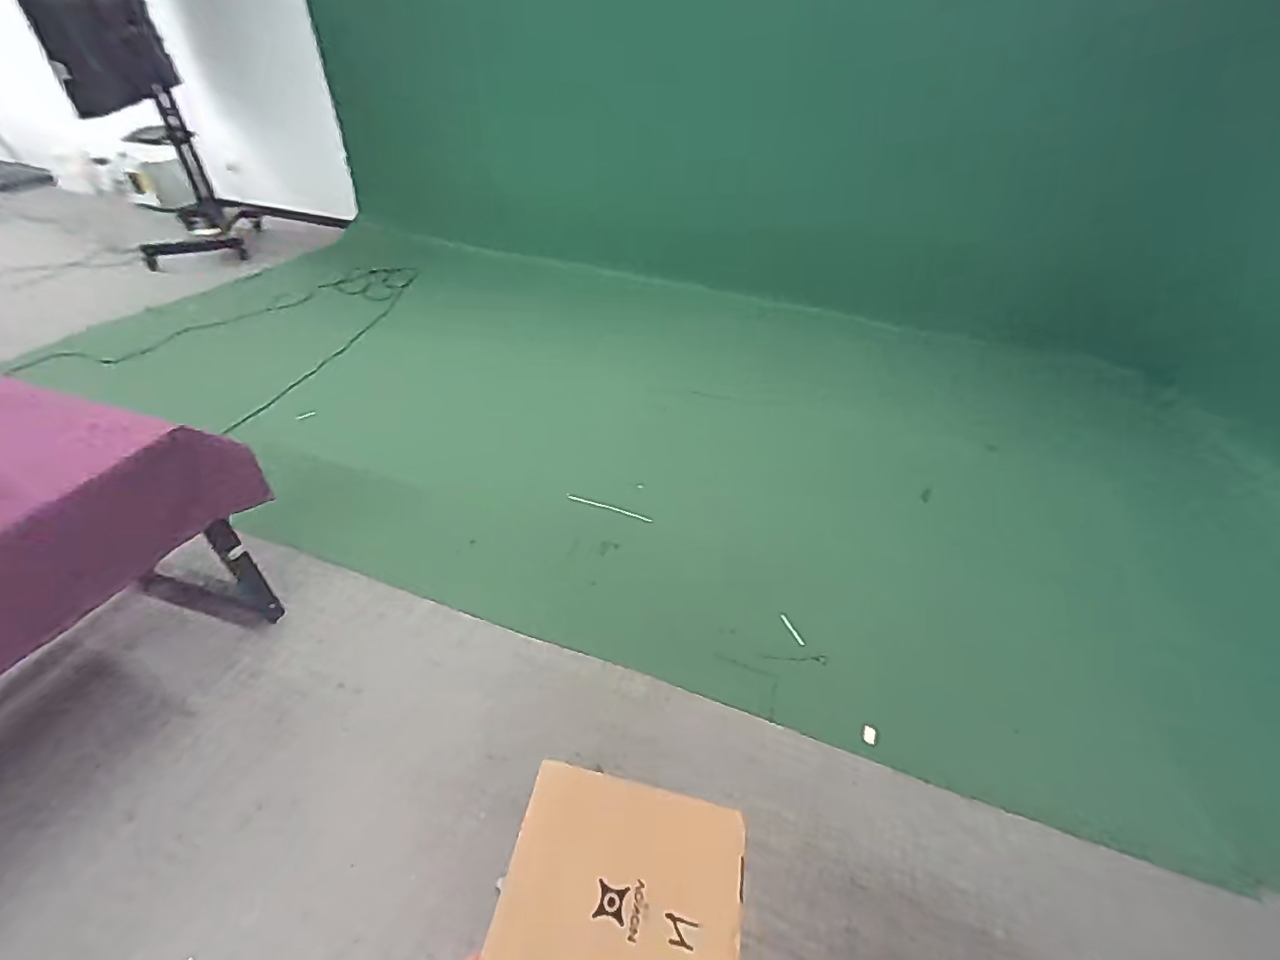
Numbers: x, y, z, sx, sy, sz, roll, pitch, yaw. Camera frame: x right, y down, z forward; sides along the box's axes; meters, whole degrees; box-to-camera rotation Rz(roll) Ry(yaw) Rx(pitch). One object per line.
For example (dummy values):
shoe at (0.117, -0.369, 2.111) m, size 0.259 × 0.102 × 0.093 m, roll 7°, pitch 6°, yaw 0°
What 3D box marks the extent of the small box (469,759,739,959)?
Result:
small box at (-0.030, 0.363, 0.445) m, size 0.179 × 0.176 × 0.168 m, roll 14°, pitch 45°, yaw 2°
